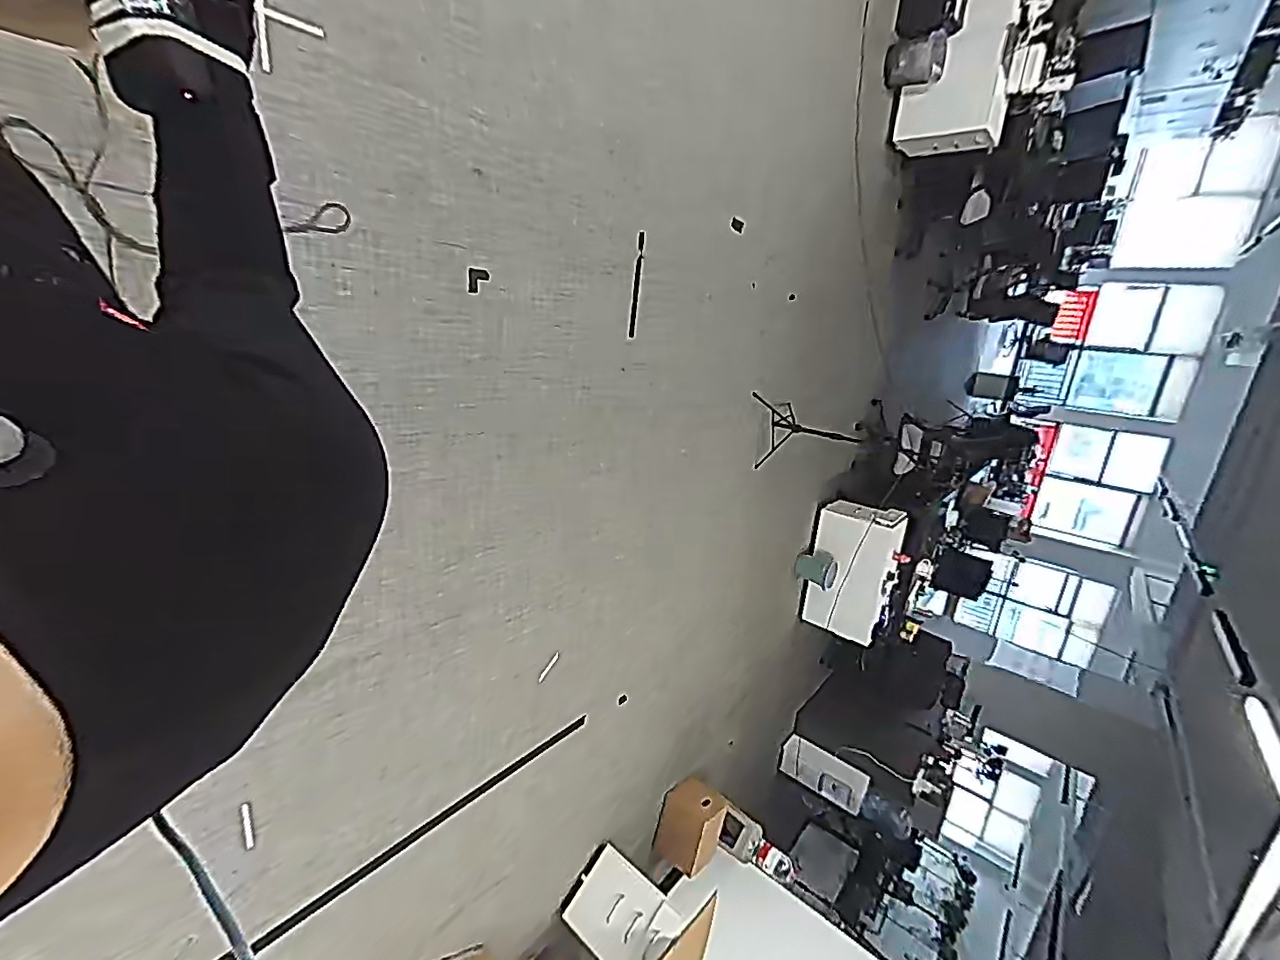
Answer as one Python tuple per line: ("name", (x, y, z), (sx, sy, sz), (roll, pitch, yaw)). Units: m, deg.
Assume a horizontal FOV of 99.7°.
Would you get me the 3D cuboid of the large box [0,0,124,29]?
("large box", (-0.558, -0.484, 0.252), (0.408, 0.320, 0.320), (-19, 127, -48))
